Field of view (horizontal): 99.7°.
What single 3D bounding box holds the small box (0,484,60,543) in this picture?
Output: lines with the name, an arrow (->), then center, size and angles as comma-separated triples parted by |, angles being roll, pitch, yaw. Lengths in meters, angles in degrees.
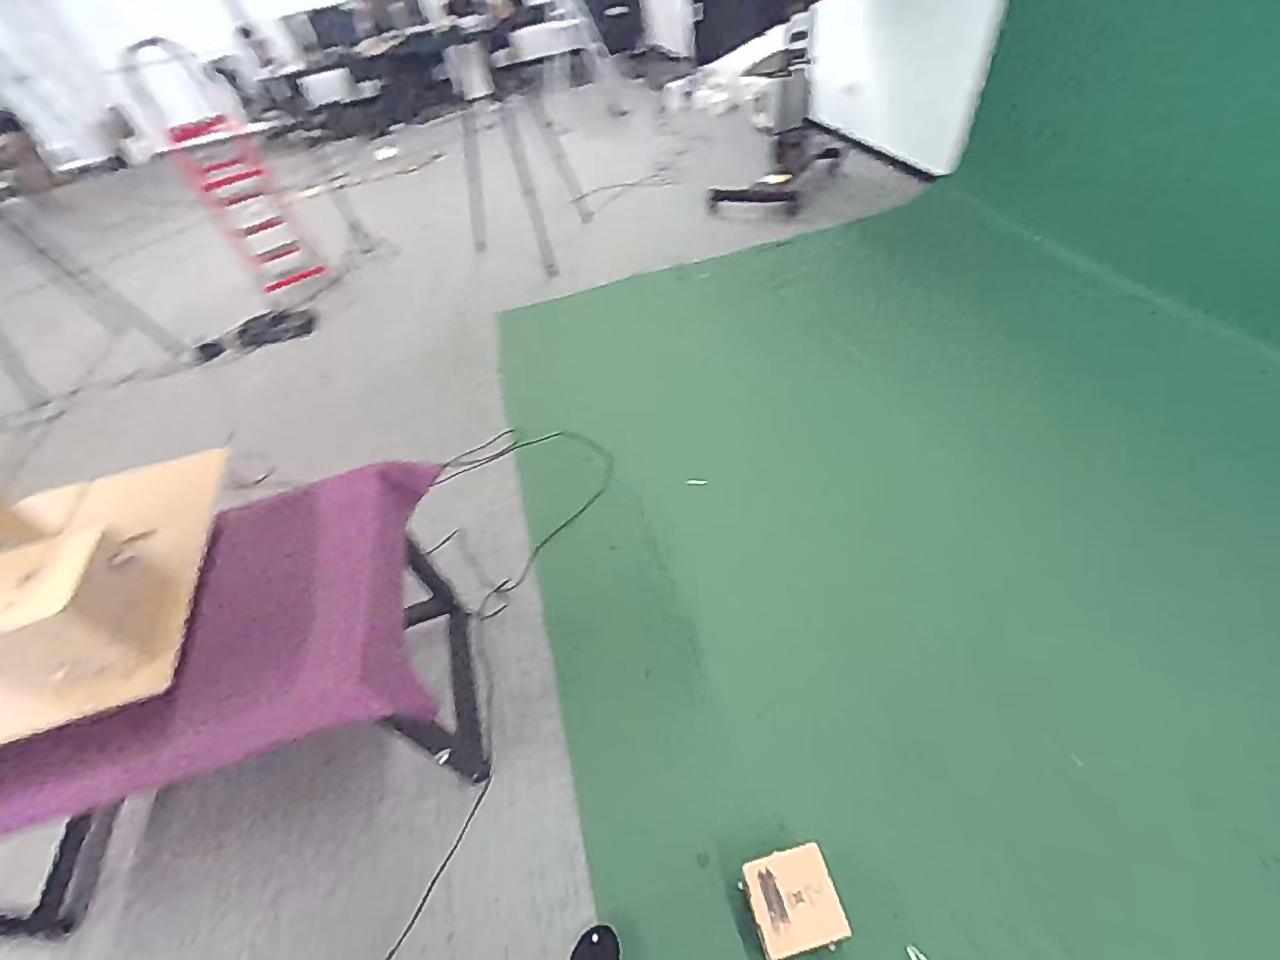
small box -> -1.147, 0.142, 0.932 | 0.168, 0.176, 0.179 | -16, 47, -10

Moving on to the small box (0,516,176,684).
small box -> -0.896, 0.191, 0.860 | 0.168, 0.176, 0.179 | -17, 48, -9
